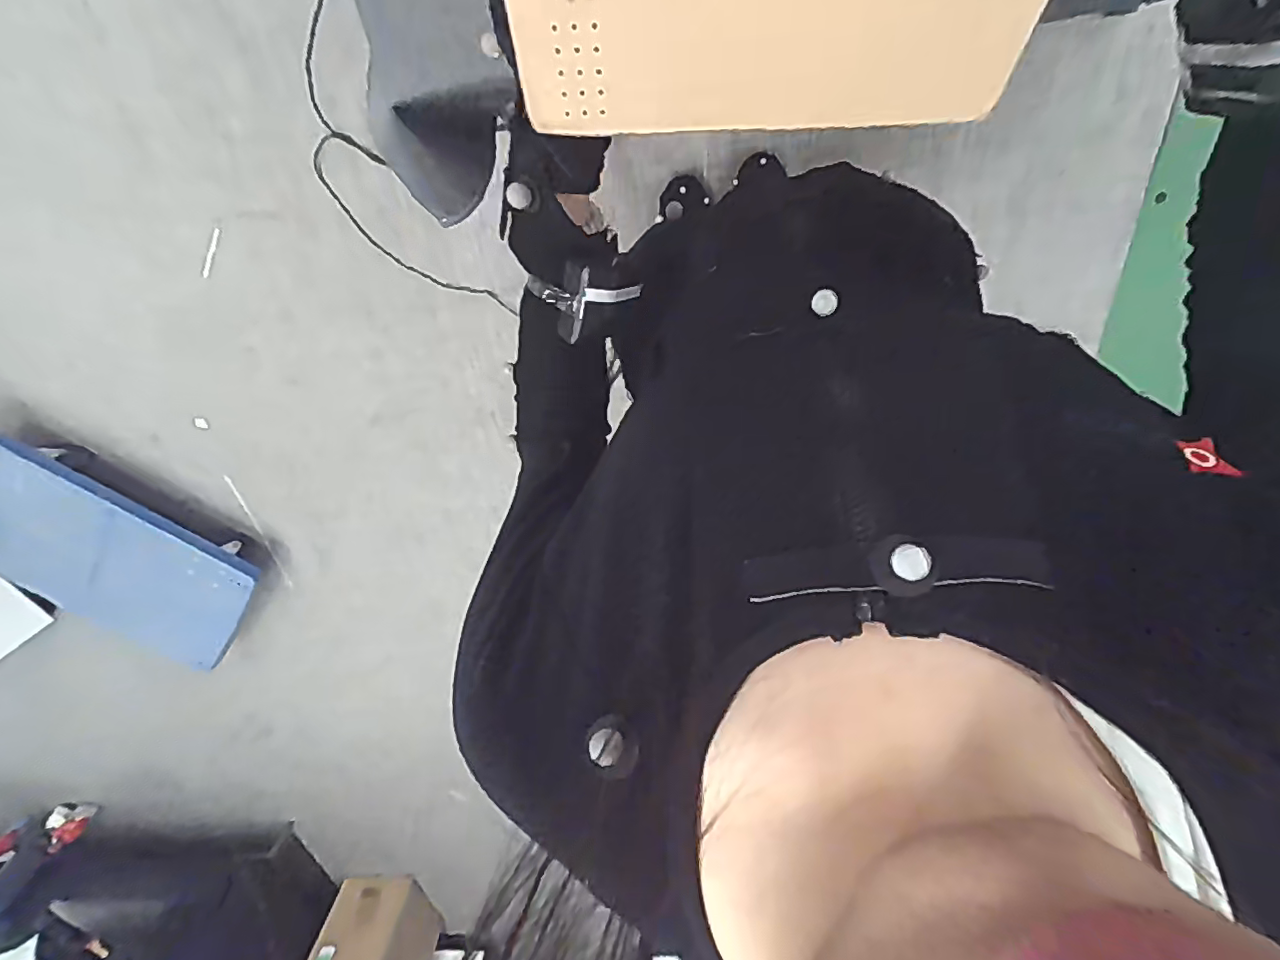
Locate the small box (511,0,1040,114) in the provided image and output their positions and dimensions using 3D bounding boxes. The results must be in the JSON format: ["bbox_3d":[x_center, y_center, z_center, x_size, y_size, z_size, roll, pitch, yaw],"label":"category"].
[{"bbox_3d":[0.041,-0.247,0.168,0.176,0.179,0.168,-1,151,3],"label":"small box"}]
